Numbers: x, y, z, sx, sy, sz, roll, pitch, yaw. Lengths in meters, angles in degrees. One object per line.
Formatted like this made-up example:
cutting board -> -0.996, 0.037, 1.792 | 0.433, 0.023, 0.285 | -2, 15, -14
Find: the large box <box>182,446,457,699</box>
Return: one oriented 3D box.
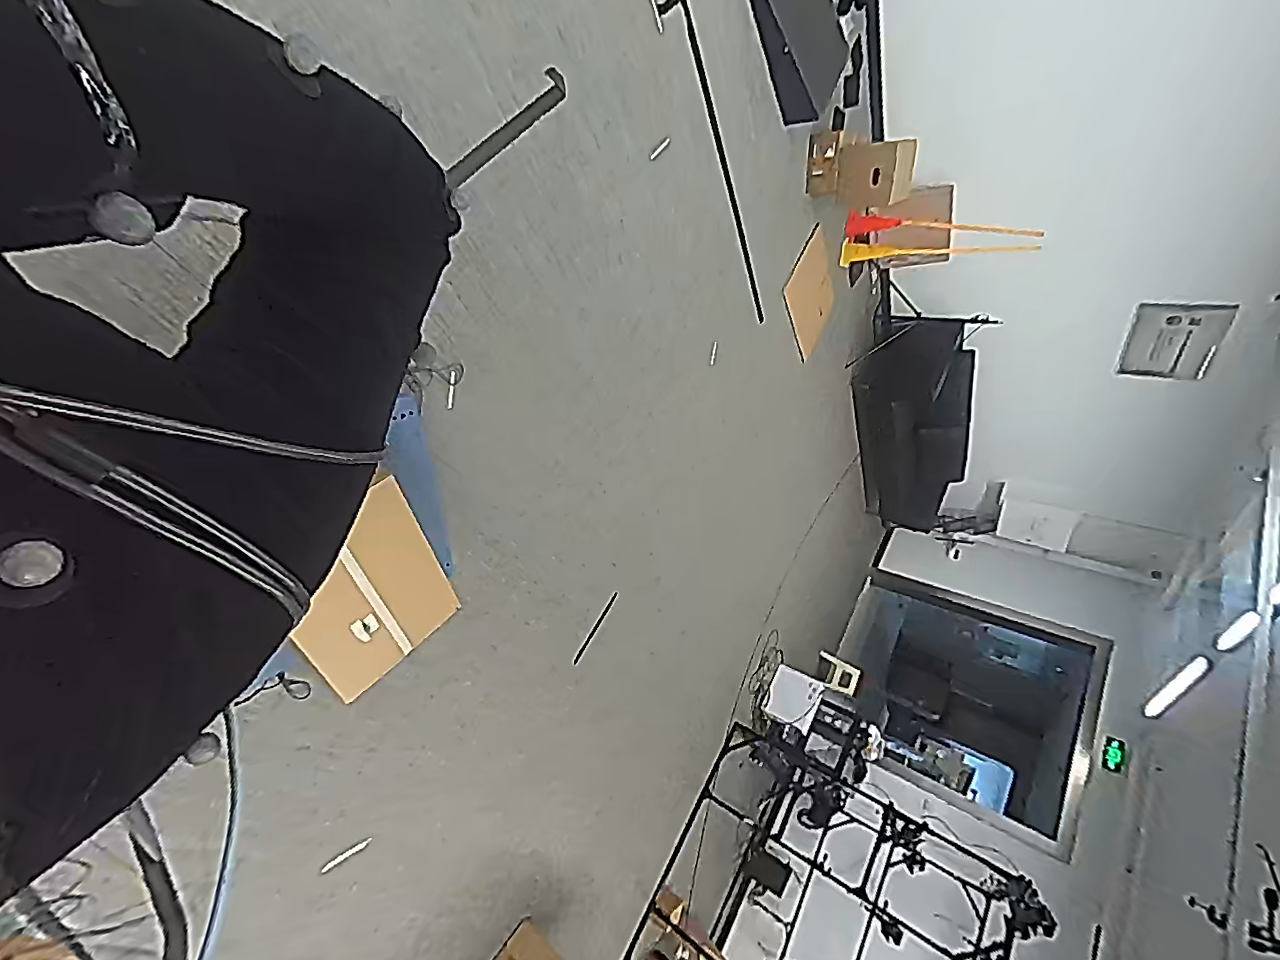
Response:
large box -> -0.687, 0.190, 1.202 | 0.320, 0.320, 0.408 | -42, 134, -37
